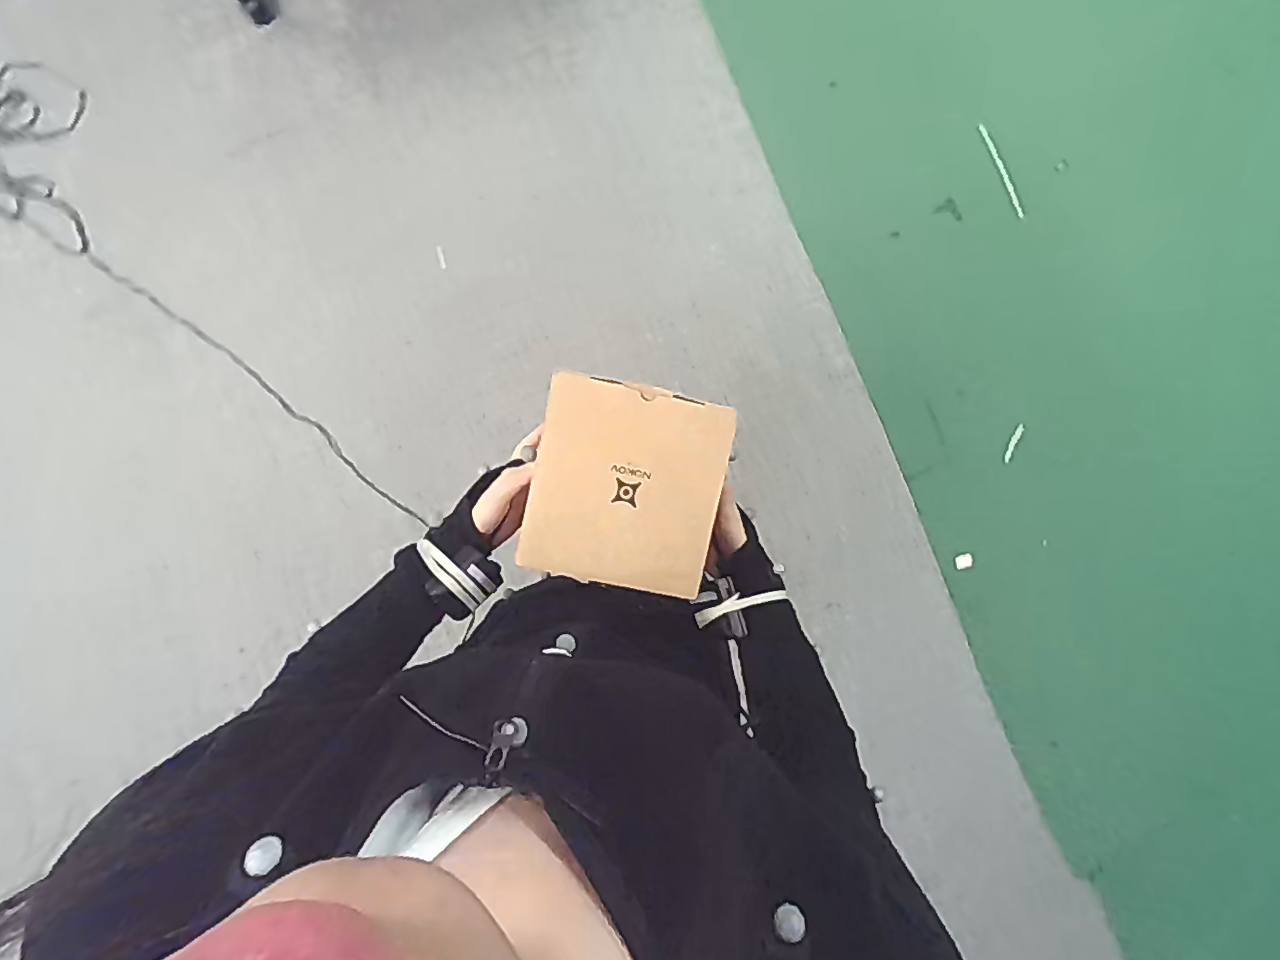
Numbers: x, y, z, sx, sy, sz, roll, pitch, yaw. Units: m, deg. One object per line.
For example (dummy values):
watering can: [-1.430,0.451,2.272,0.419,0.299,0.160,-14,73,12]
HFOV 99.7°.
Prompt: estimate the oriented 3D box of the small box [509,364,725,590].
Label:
small box: [-0.026,-0.004,0.558,0.168,0.176,0.179,12,91,-6]
